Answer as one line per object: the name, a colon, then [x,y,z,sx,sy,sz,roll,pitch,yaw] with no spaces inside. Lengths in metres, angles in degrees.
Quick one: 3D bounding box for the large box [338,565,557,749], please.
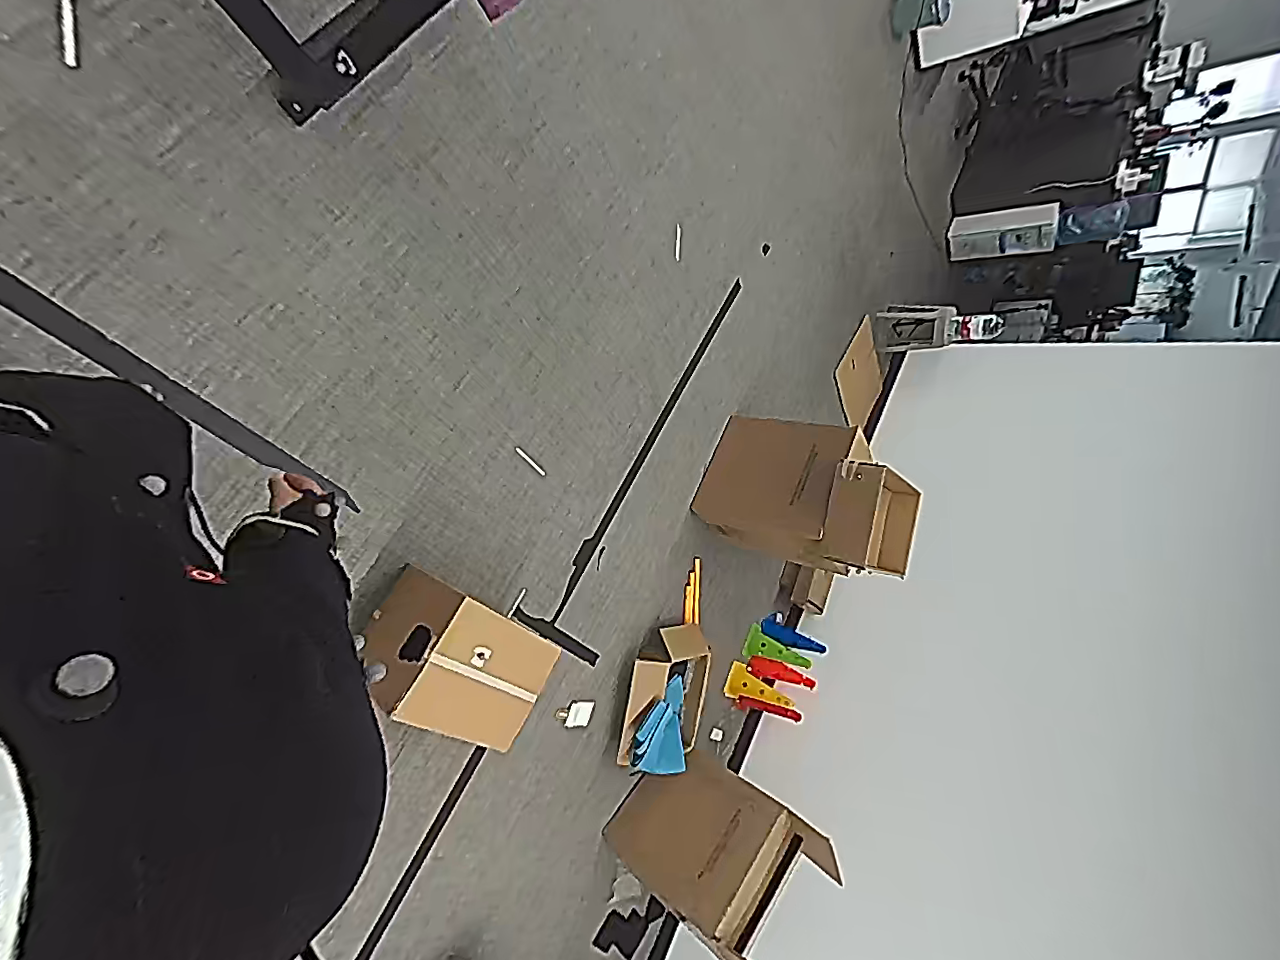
large box: [-0.513,0.483,1.483,0.408,0.320,0.320,47,63,-43]
